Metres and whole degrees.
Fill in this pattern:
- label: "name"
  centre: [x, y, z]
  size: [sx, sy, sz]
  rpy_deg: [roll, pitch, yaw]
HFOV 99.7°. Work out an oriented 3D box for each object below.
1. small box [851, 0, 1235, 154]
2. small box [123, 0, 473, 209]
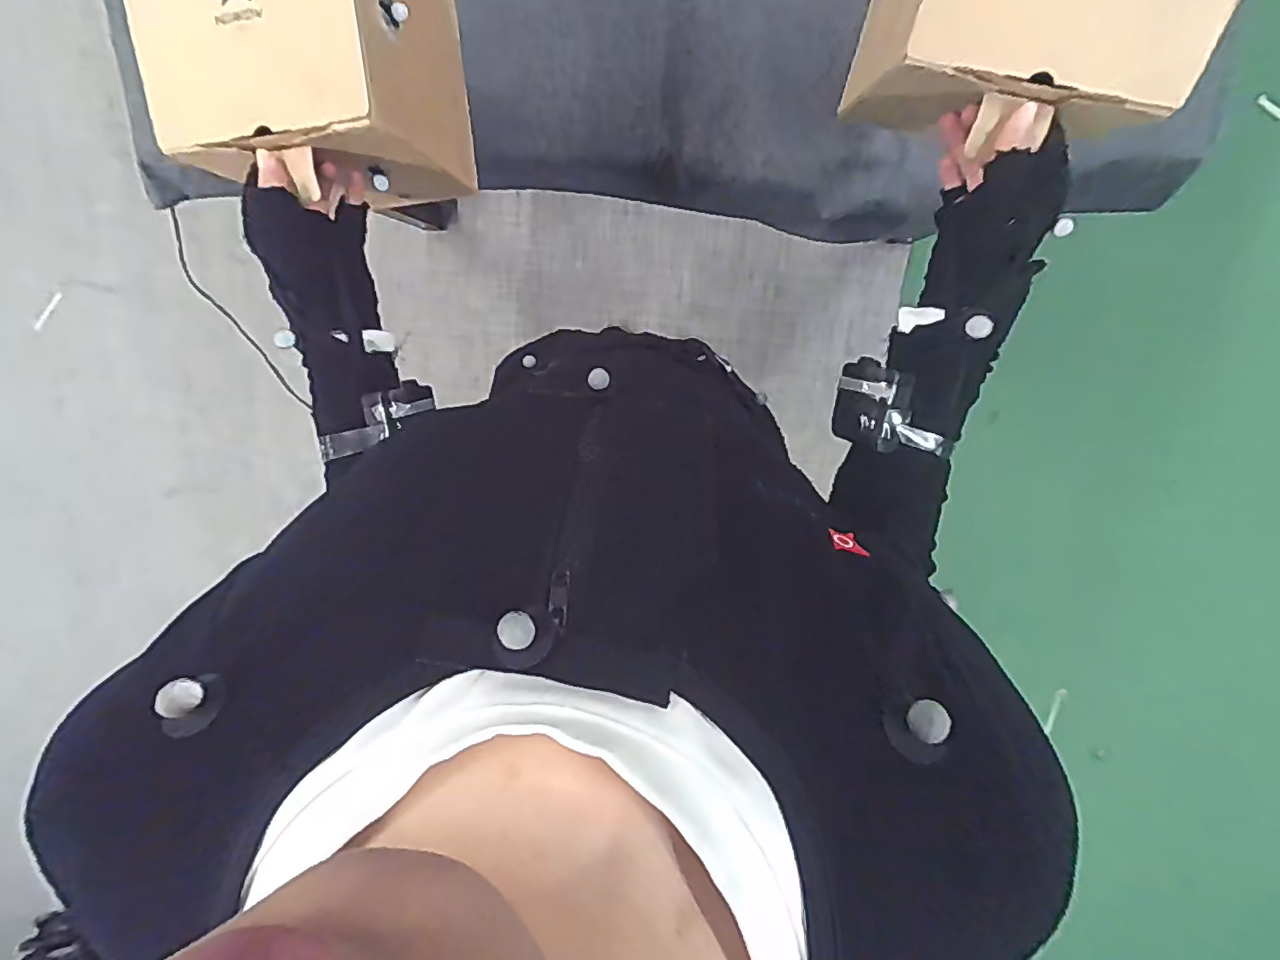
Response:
- label: "small box"
  centre: [0.259, -0.336, 0.358]
  size: [0.168, 0.176, 0.179]
  rpy_deg: [13, 115, 0]
- label: "small box"
  centre: [-0.247, -0.328, 0.424]
  size: [0.168, 0.176, 0.179]
  rpy_deg: [-3, 101, 8]
